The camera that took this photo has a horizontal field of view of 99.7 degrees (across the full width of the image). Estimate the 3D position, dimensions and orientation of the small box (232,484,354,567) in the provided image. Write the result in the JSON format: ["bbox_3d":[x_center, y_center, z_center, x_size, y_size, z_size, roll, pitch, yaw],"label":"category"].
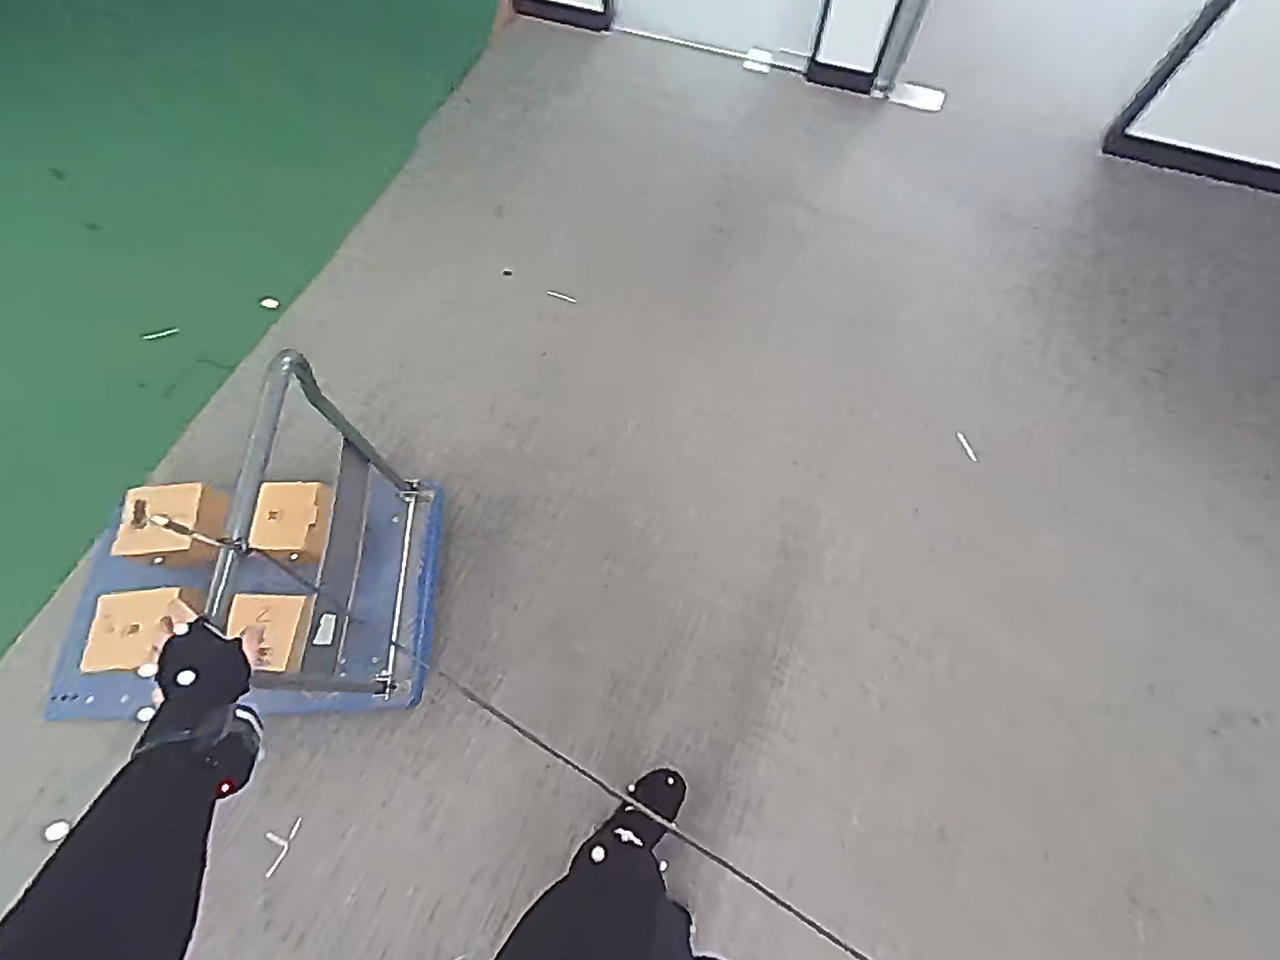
[{"bbox_3d":[-0.843,0.116,1.331,0.179,0.176,0.168,-1,68,0],"label":"small box"}]

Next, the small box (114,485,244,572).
[{"bbox_3d":[-1.113,0.125,1.330,0.179,0.176,0.168,-5,68,-2],"label":"small box"}]

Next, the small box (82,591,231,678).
[{"bbox_3d":[-1.087,0.357,1.235,0.179,0.176,0.168,-5,67,-2],"label":"small box"}]
